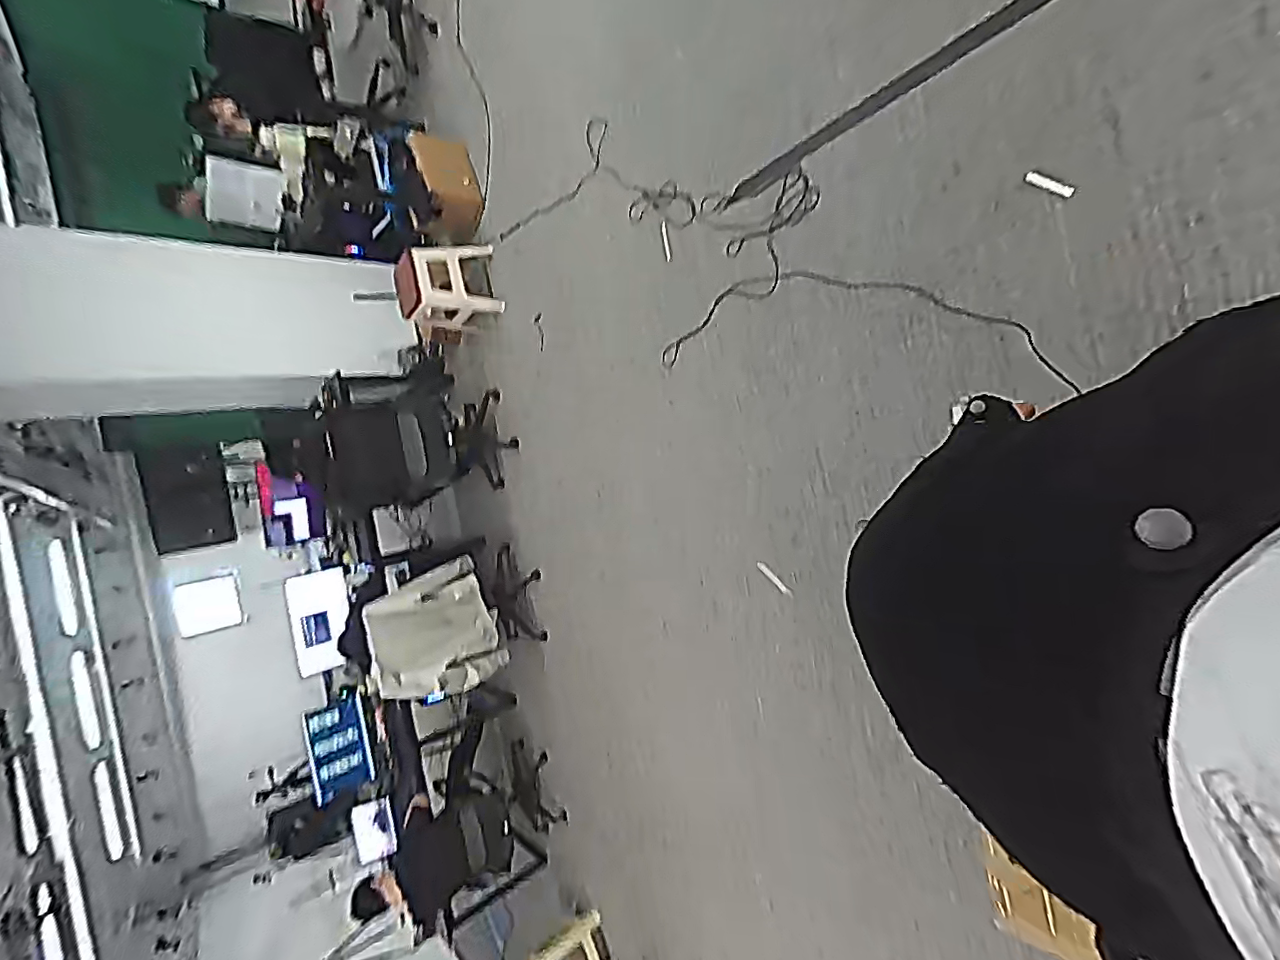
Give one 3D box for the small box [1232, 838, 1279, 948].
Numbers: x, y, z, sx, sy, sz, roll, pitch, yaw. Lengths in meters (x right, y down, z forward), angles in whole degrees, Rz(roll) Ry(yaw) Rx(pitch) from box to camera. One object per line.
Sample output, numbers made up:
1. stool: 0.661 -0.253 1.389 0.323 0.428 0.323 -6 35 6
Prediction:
1. small box: 0.735 0.515 0.541 0.168 0.176 0.179 -11 89 51
